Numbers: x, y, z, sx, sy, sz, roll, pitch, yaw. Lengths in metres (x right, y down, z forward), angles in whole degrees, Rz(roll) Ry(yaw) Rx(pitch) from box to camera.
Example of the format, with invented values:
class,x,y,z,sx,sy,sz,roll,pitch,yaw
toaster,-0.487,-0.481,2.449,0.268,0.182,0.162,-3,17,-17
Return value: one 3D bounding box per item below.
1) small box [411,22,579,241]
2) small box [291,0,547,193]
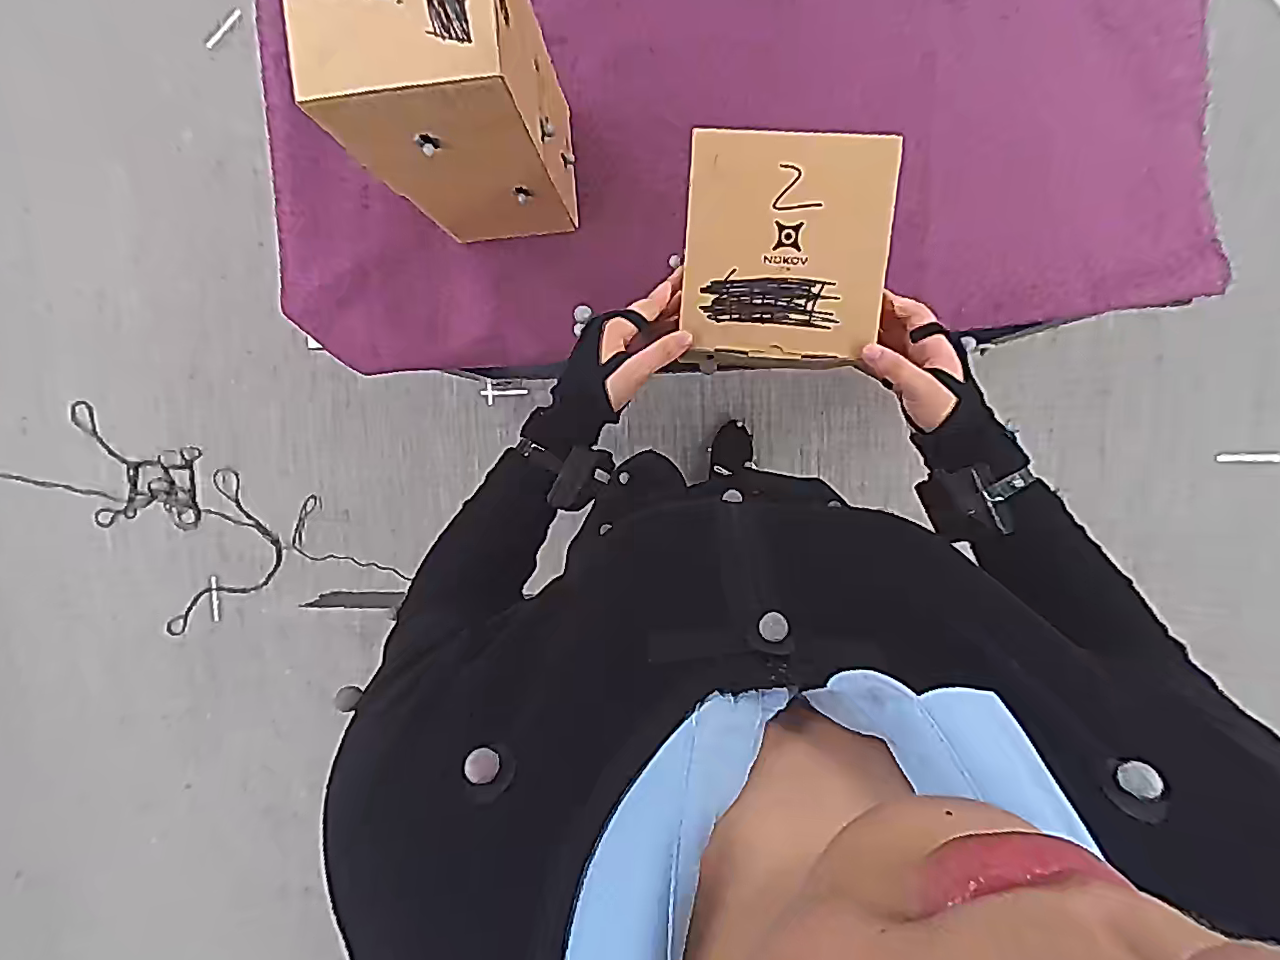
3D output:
class,x,y,z,sx,sy,sz,roll,pitch,yaw
small box,-0.182,-0.415,0.675,0.179,0.176,0.168,-4,94,4
small box,-0.191,-0.398,0.512,0.179,0.176,0.168,-4,93,4
